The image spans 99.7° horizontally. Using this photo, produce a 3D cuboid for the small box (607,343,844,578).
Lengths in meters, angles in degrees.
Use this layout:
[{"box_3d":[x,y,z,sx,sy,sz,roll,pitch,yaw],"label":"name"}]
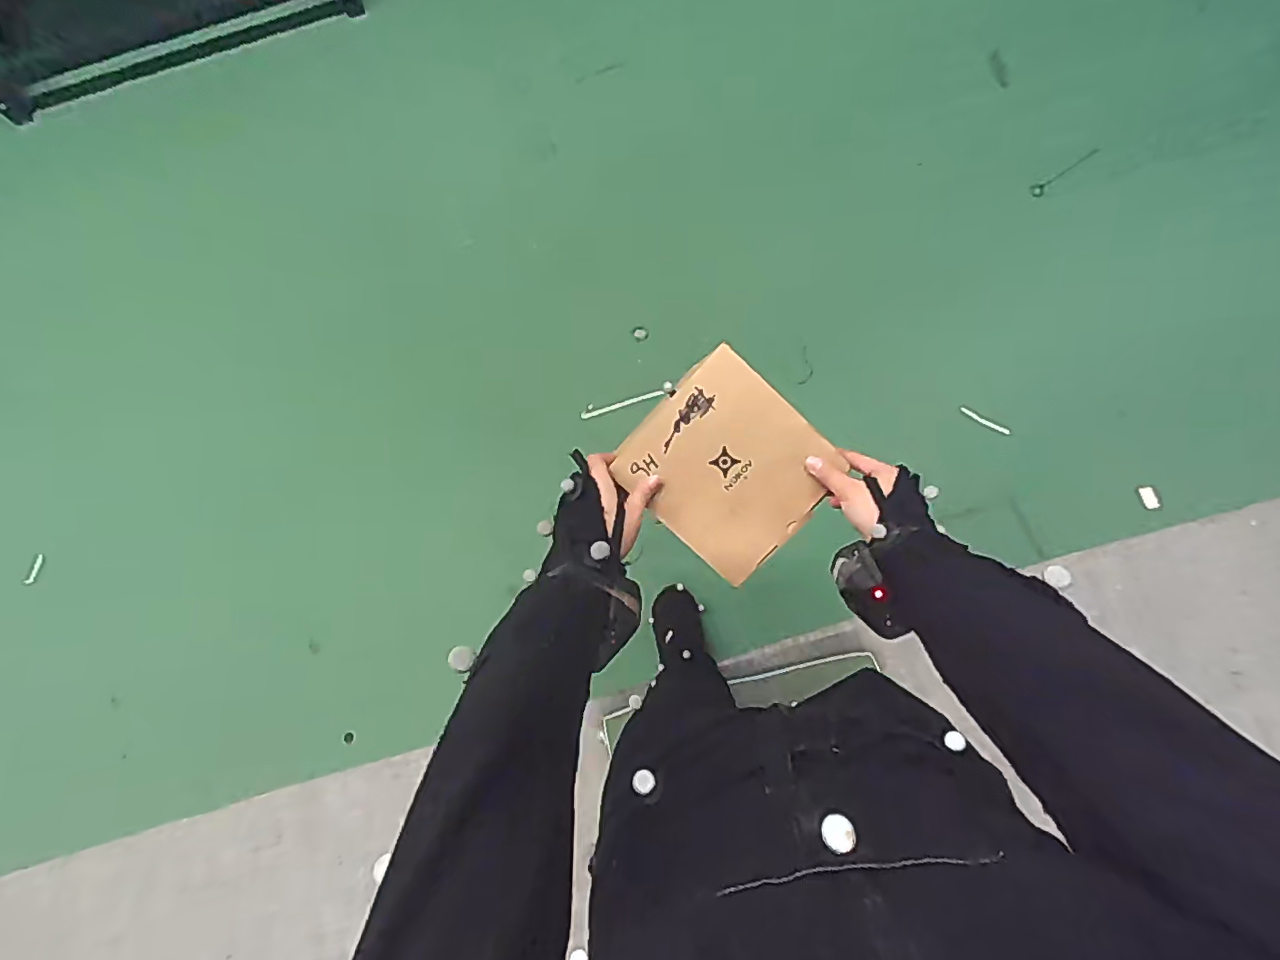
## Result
[{"box_3d":[0.082,-0.026,0.603,0.179,0.176,0.168,43,92,-5],"label":"small box"}]
